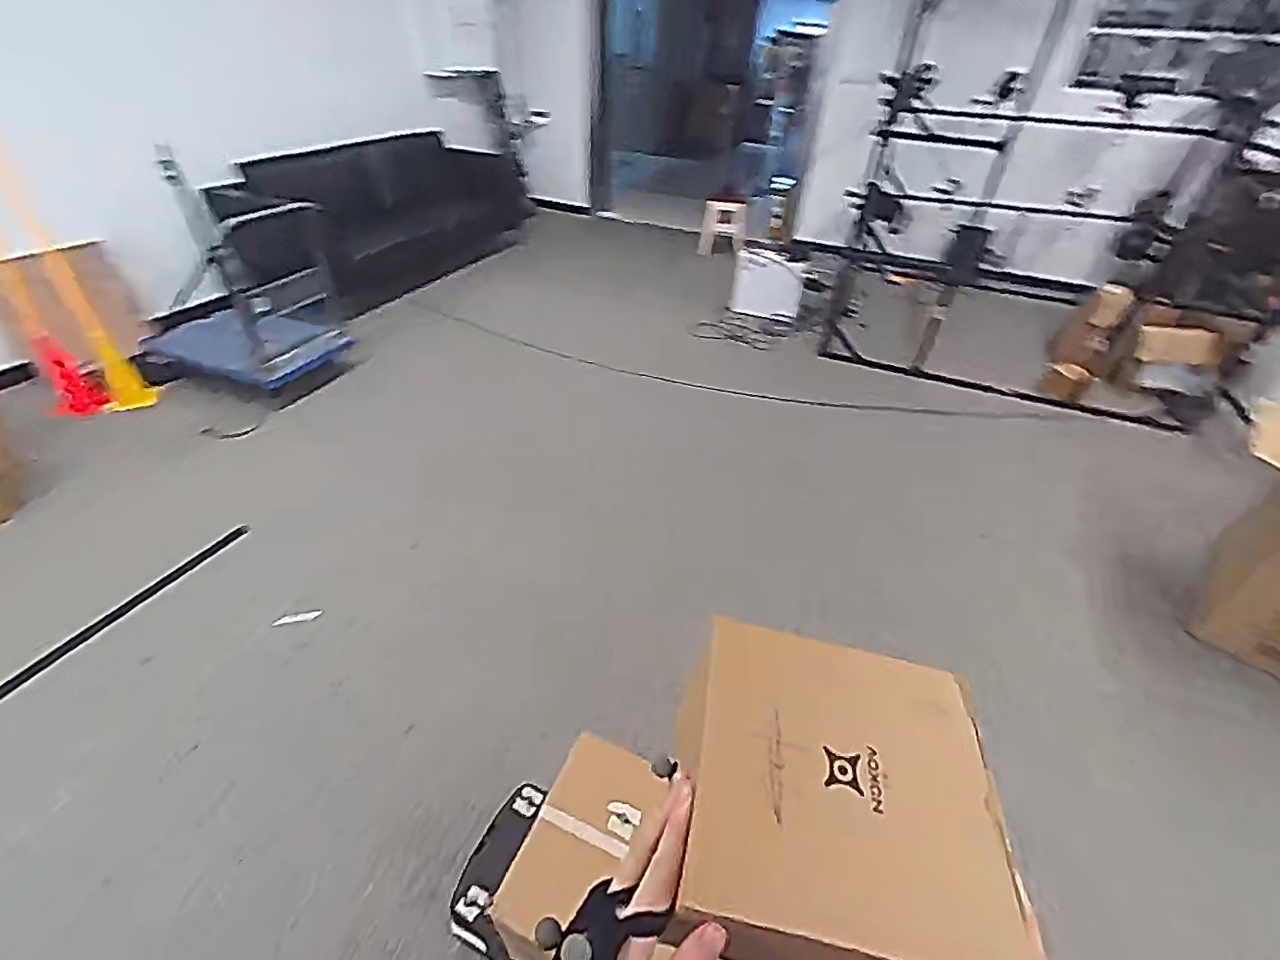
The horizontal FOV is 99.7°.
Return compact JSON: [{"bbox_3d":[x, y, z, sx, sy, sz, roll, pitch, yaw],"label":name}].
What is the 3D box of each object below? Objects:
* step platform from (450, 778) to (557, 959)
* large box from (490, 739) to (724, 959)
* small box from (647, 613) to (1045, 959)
[{"bbox_3d":[-0.053,0.924,1.104,0.684,0.204,0.286,21,42,22],"label":"step platform"},{"bbox_3d":[0.013,0.743,0.953,0.408,0.320,0.320,16,40,18],"label":"large box"},{"bbox_3d":[0.111,0.219,0.364,0.179,0.176,0.168,12,44,3],"label":"small box"}]
